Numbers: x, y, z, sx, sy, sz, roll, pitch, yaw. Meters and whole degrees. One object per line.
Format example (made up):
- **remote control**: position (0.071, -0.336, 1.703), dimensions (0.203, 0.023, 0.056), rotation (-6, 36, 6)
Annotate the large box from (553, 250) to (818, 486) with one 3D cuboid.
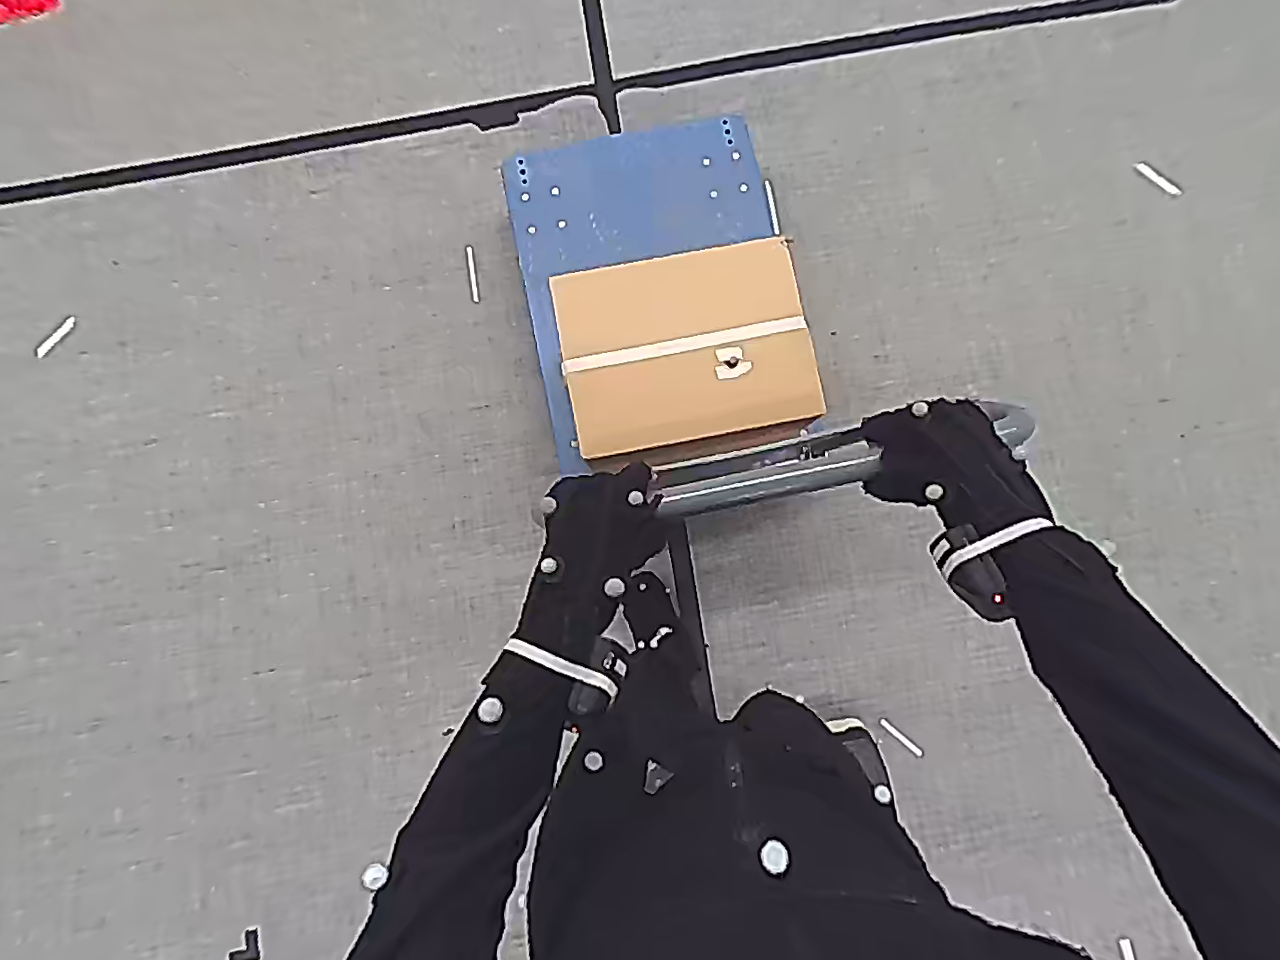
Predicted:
- **large box**: position (0.071, -0.191, 1.054), dimensions (0.408, 0.320, 0.320), rotation (-11, 84, -2)
